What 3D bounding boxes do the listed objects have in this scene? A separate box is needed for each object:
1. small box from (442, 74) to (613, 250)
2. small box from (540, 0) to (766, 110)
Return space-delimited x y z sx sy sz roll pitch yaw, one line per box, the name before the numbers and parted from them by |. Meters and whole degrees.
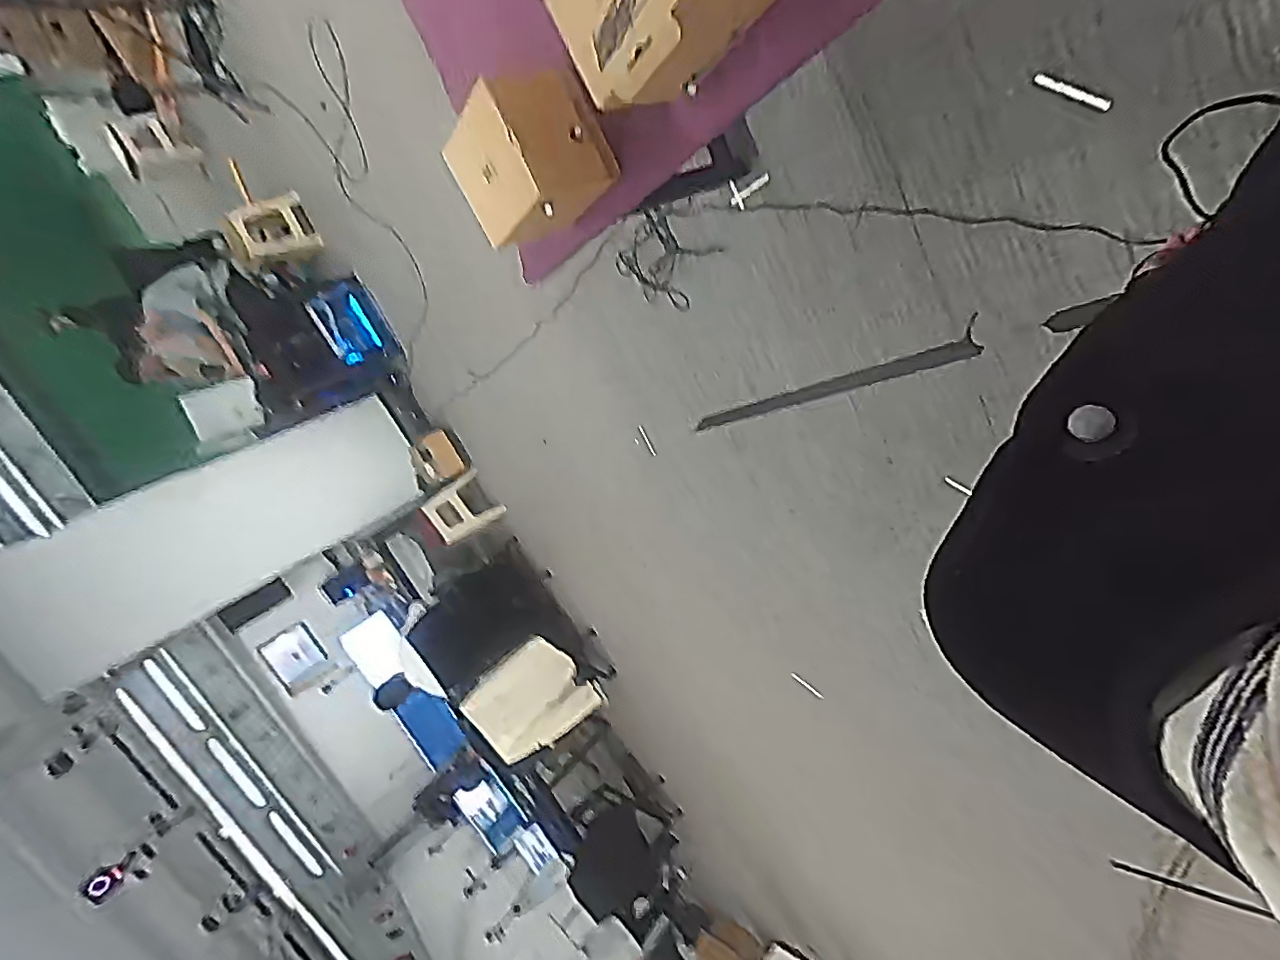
small box | -0.174 -0.495 0.850 0.179 0.176 0.168 -14 109 53
small box | 0.010 -0.550 0.586 0.168 0.176 0.179 -14 108 53
